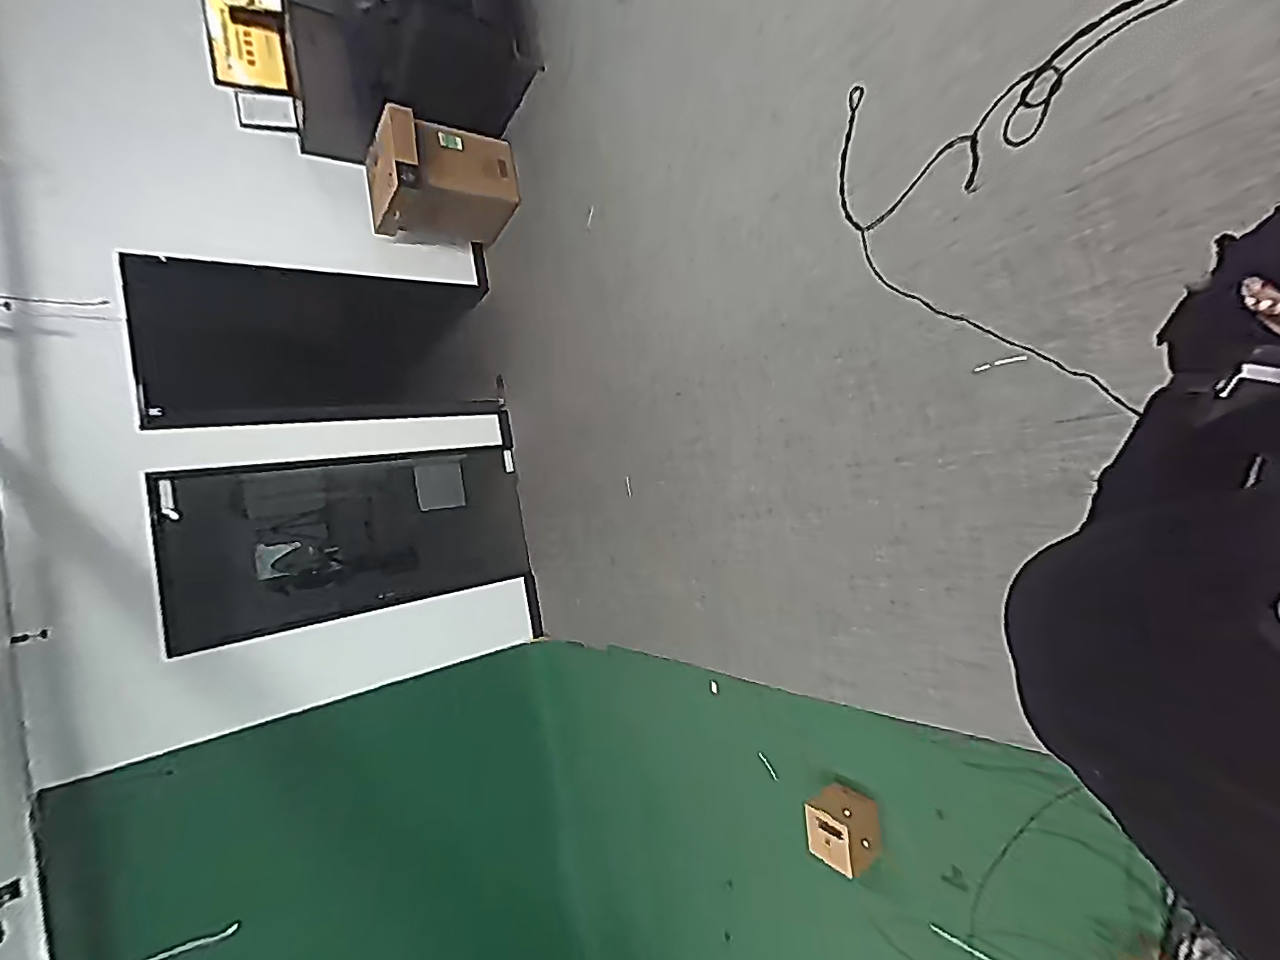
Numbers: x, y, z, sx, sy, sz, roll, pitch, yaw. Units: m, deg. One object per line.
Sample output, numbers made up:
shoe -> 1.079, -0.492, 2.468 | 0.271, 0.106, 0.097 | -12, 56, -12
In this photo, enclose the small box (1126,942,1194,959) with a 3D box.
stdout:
small box -> 1.148, 1.131, 1.135 | 0.179, 0.176, 0.168 | -17, 83, 54
